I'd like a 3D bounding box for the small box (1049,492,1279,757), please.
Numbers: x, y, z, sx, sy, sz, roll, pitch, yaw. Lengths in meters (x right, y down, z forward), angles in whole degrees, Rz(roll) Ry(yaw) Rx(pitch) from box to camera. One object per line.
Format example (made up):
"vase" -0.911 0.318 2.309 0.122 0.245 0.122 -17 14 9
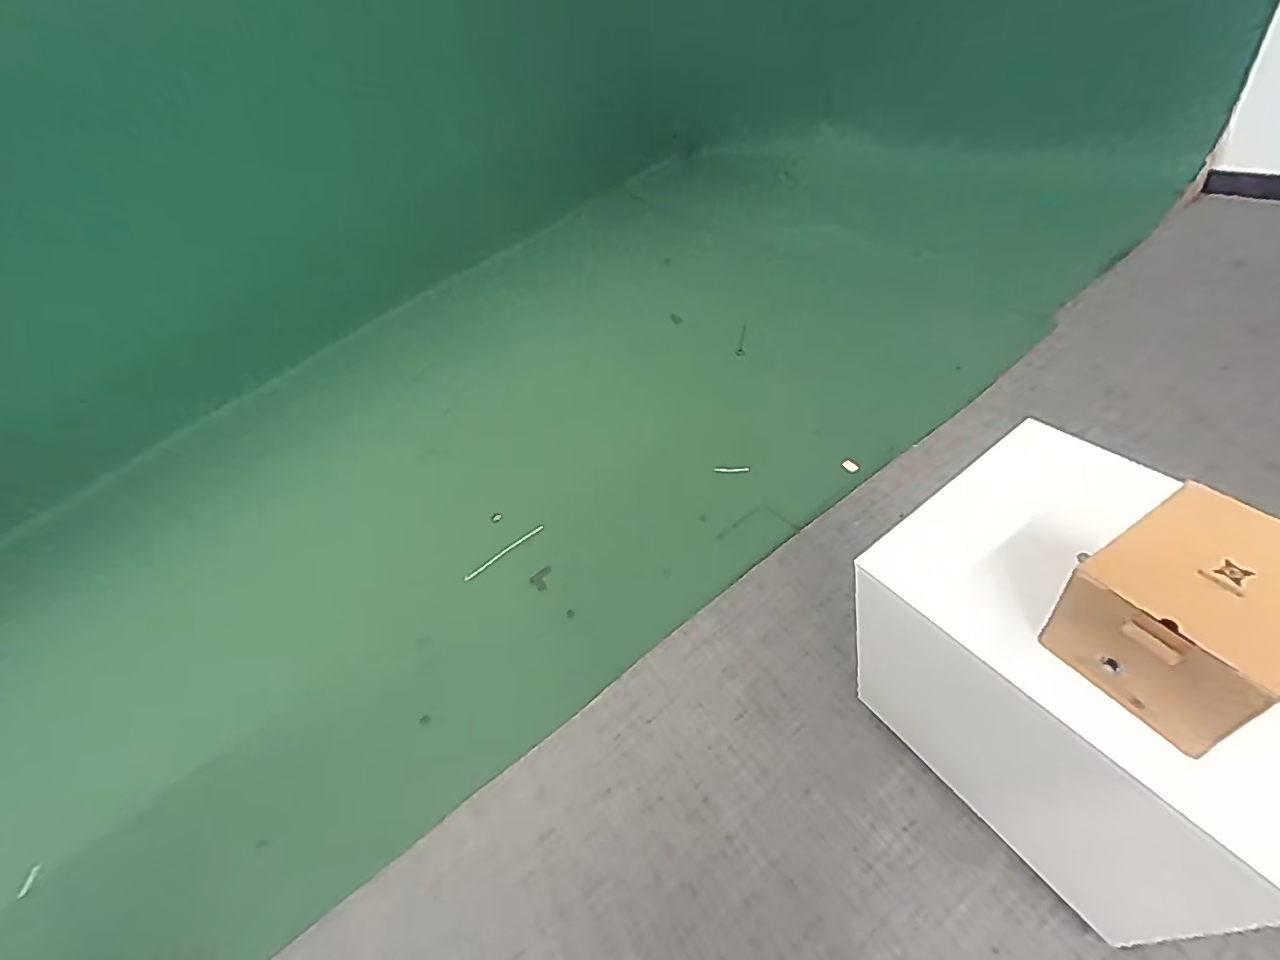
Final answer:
"small box" 0.581 0.152 0.570 0.179 0.176 0.168 -32 45 -9
